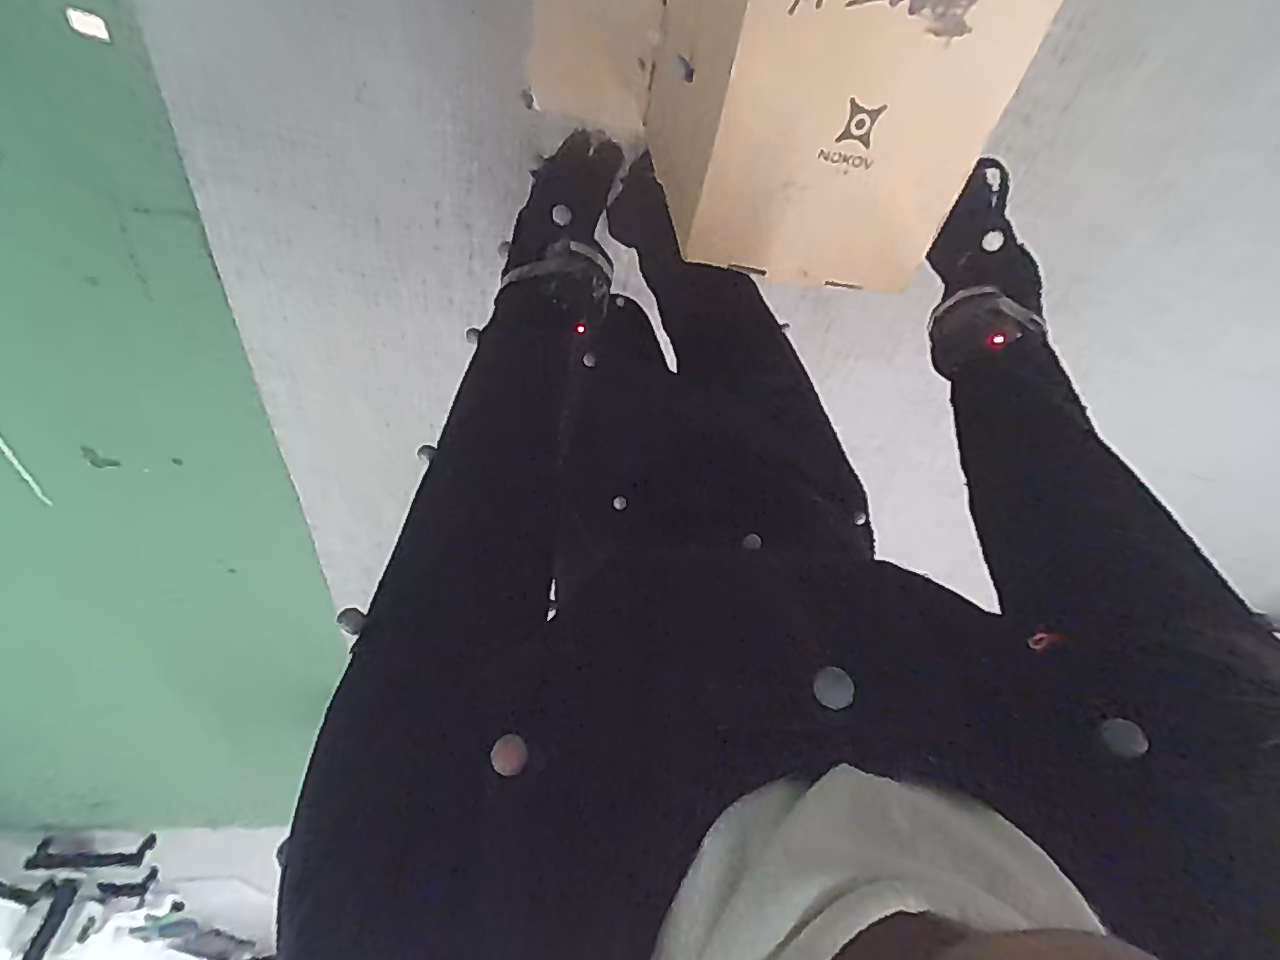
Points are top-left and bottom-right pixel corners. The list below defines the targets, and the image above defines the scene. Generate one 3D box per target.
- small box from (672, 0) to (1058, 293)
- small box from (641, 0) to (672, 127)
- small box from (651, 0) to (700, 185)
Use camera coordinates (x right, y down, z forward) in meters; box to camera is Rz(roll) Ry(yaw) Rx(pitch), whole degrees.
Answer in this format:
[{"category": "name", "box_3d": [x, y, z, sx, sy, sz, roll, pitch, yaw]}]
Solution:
[{"category": "small box", "box_3d": [0.120, -0.261, 0.378, 0.168, 0.176, 0.179, 5, 136, -8]}, {"category": "small box", "box_3d": [0.101, -0.492, 0.609, 0.179, 0.176, 0.168, 4, 135, -10]}, {"category": "small box", "box_3d": [0.113, -0.372, 0.498, 0.179, 0.176, 0.168, 6, 135, -9]}]
